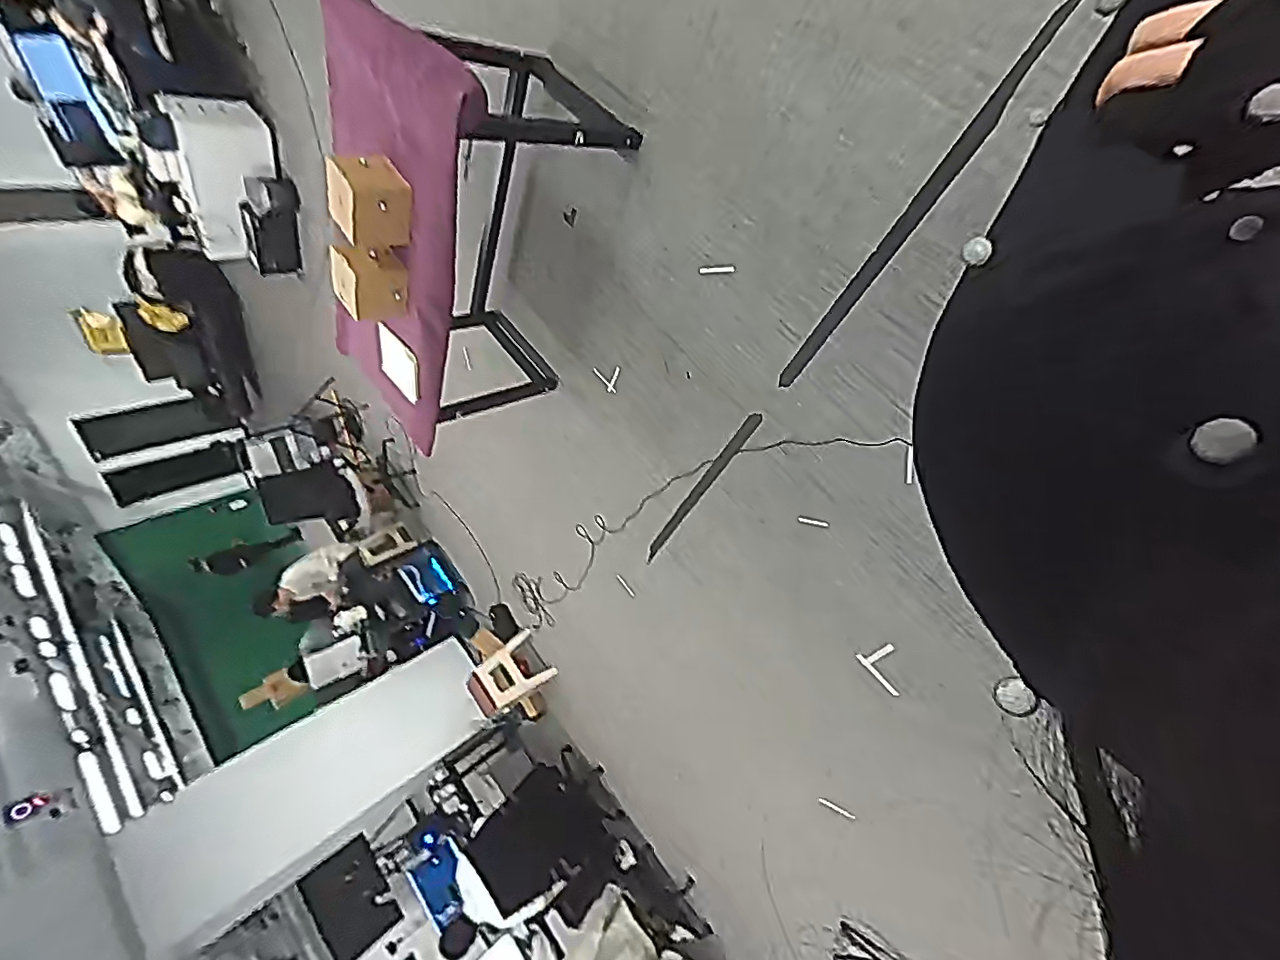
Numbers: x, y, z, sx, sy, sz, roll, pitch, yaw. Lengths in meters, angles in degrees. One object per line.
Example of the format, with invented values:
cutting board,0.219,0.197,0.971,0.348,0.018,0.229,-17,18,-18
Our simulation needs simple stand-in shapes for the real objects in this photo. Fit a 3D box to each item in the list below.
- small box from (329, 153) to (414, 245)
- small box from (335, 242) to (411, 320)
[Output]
small box,-0.768,-0.811,1.559,0.168,0.176,0.179,53,142,17
small box,-0.861,-0.650,1.749,0.168,0.176,0.179,49,138,19
